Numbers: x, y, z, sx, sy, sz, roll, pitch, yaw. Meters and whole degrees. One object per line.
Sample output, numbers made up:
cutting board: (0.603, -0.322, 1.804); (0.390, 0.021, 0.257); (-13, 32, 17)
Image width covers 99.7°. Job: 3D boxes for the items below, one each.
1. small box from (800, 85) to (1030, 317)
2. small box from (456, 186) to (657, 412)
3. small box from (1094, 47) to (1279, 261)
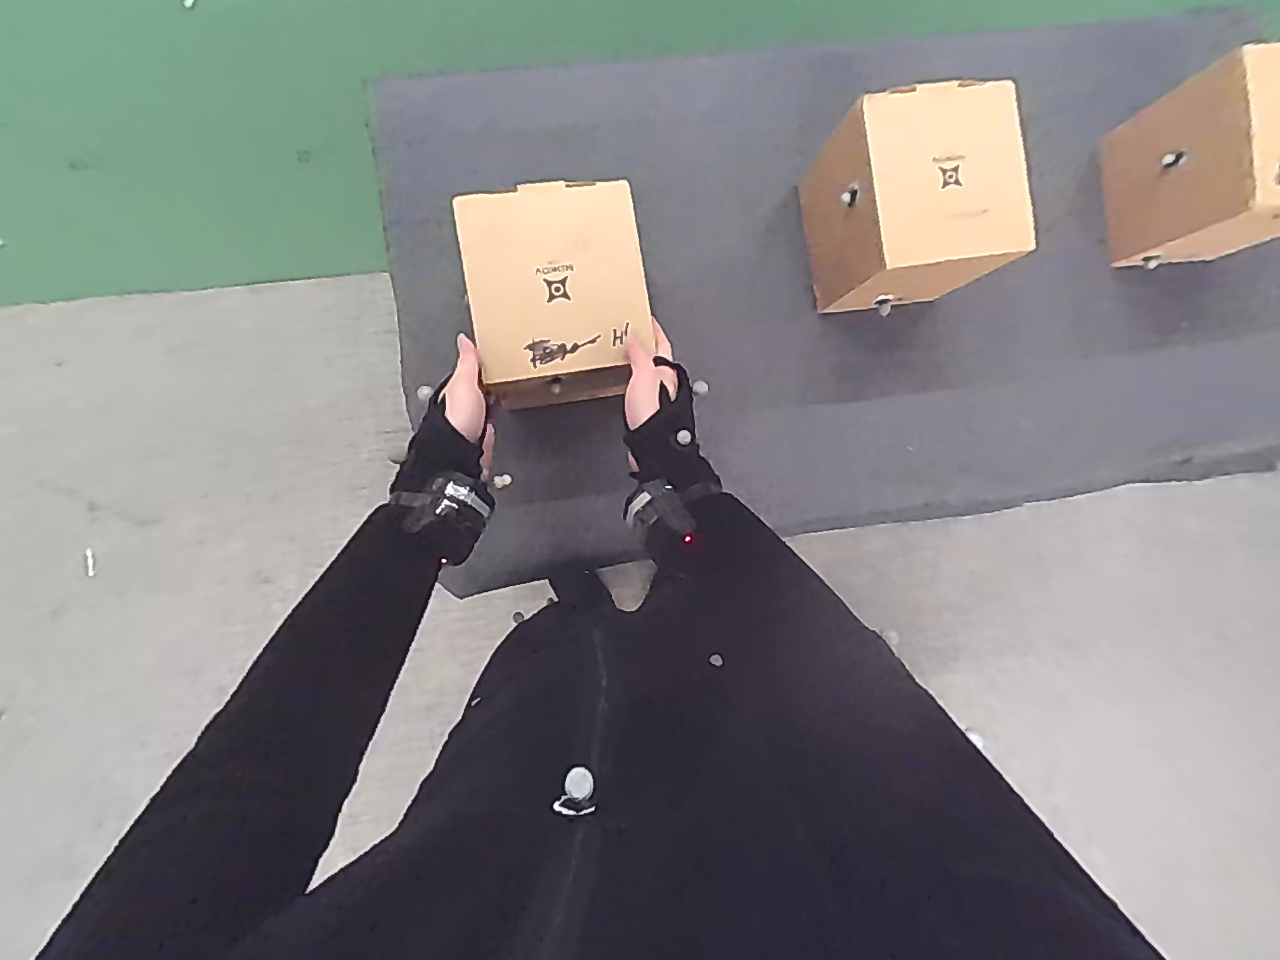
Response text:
small box: (0.300, -0.306, 0.624); (0.168, 0.176, 0.179); (-10, 93, -5)
small box: (-0.085, -0.179, 0.579); (0.168, 0.176, 0.179); (-9, 91, -6)
small box: (0.712, -0.384, 0.666); (0.168, 0.176, 0.179); (-7, 91, -6)
